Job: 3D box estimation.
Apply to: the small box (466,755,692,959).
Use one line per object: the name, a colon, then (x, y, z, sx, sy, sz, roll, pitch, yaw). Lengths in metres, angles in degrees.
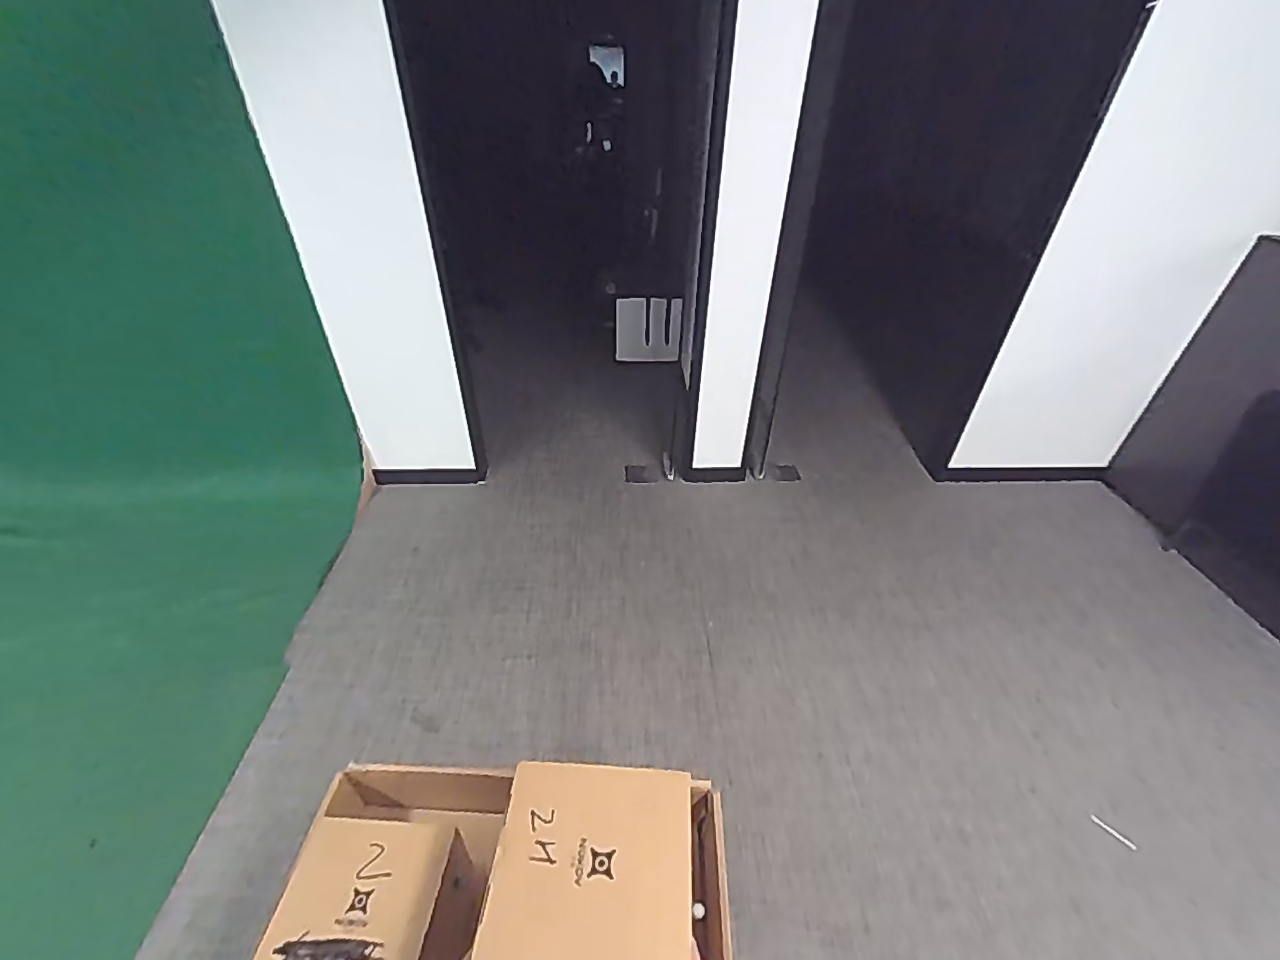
small box: (-0.042, 0.393, 0.523, 0.179, 0.176, 0.168, 1, 37, 4)
